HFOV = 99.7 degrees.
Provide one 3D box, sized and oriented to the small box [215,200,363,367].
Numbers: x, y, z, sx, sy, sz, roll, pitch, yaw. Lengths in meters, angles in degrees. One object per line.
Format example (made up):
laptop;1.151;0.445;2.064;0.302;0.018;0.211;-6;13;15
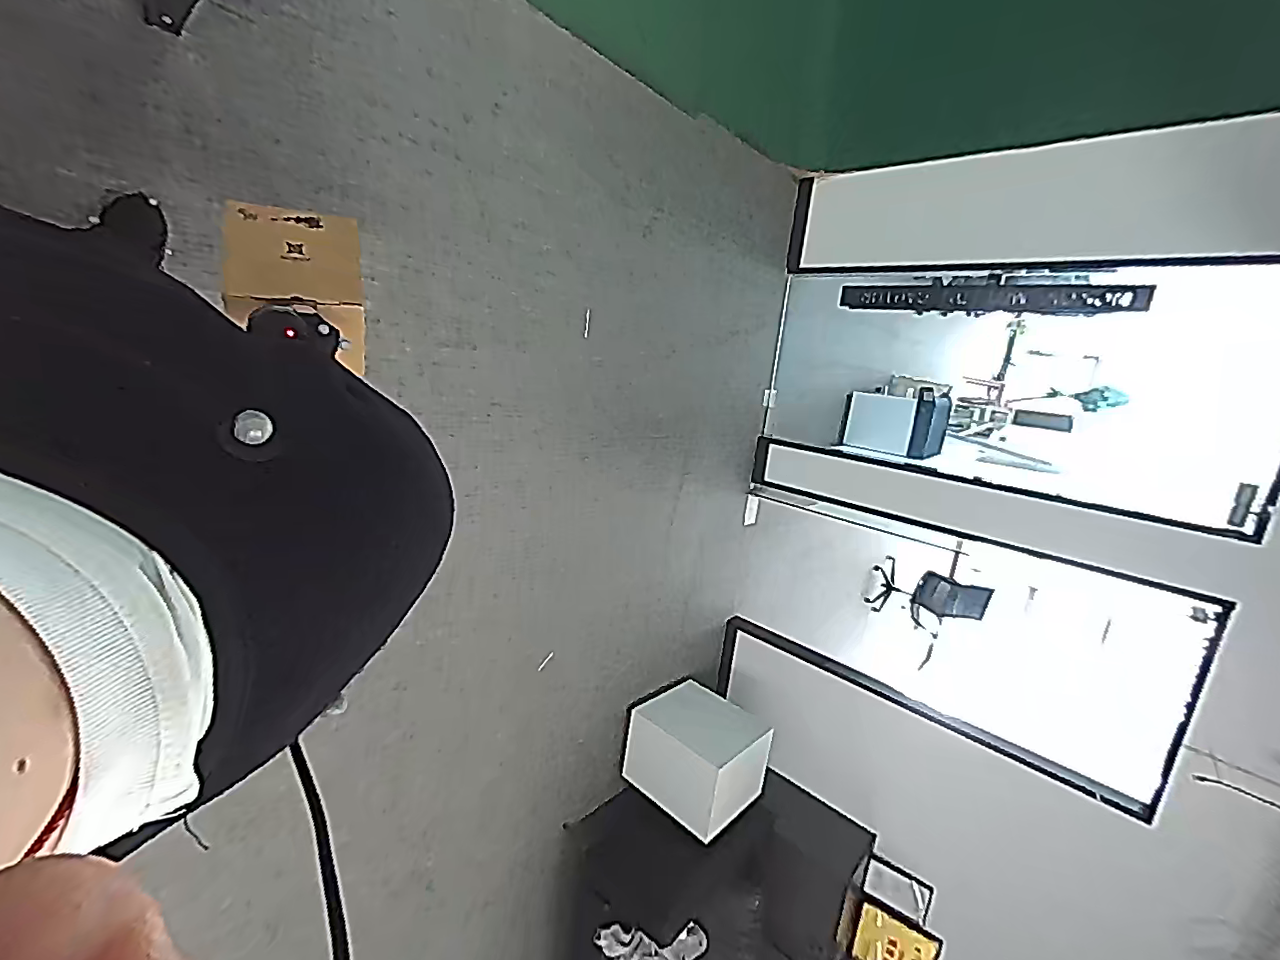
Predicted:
small box;-0.526;-0.287;0.826;0.168;0.176;0.179;-8;68;-29
